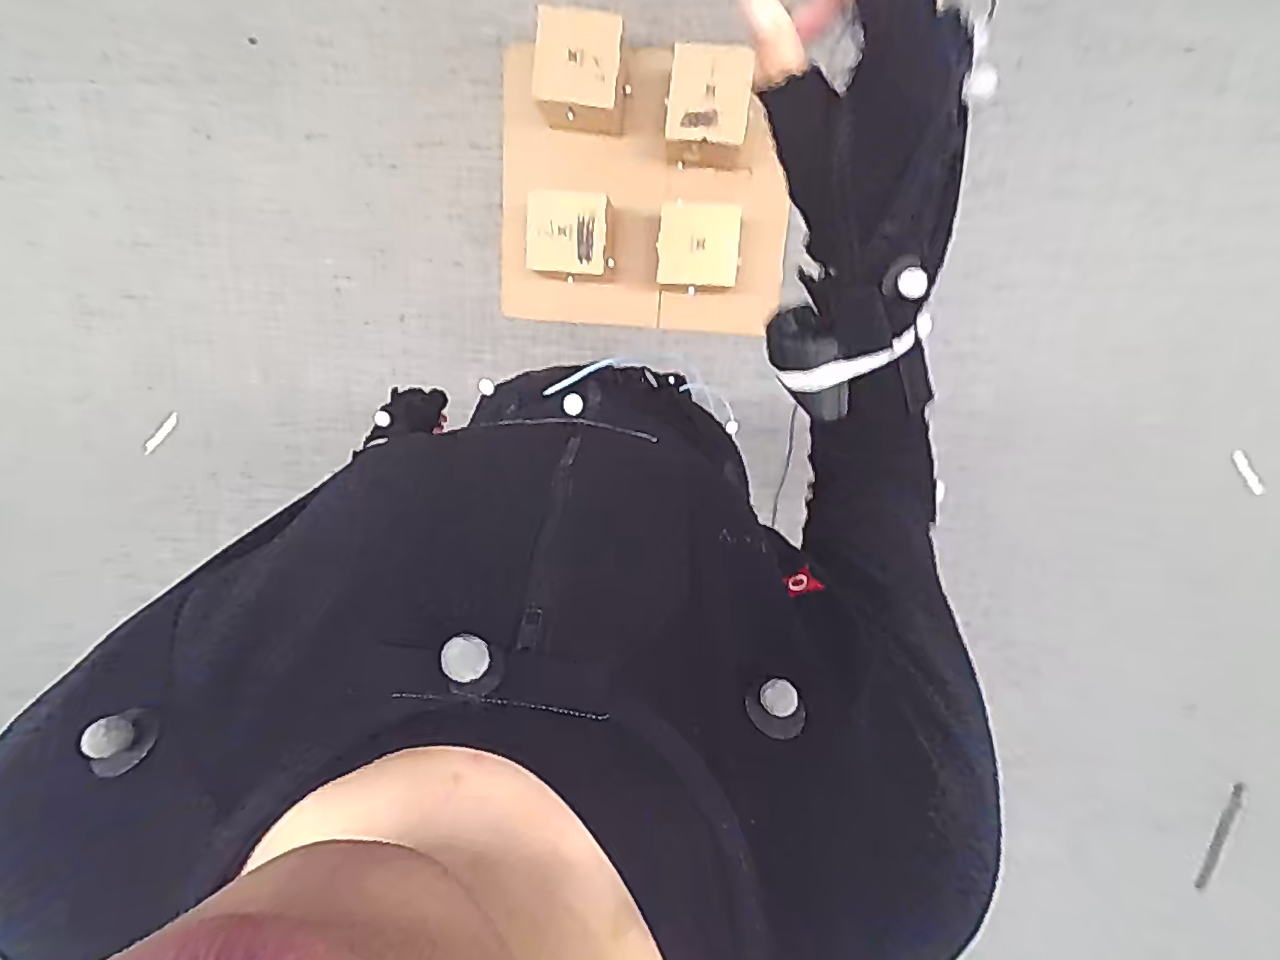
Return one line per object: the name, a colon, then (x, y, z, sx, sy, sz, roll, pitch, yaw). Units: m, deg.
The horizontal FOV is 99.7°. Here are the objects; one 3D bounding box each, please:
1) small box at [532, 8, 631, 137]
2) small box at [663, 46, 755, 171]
small box: (-0.122, -0.878, 1.182, 0.179, 0.176, 0.168, 10, 104, 1)
small box: (0.148, -0.803, 1.186, 0.168, 0.176, 0.179, 8, 103, 3)
